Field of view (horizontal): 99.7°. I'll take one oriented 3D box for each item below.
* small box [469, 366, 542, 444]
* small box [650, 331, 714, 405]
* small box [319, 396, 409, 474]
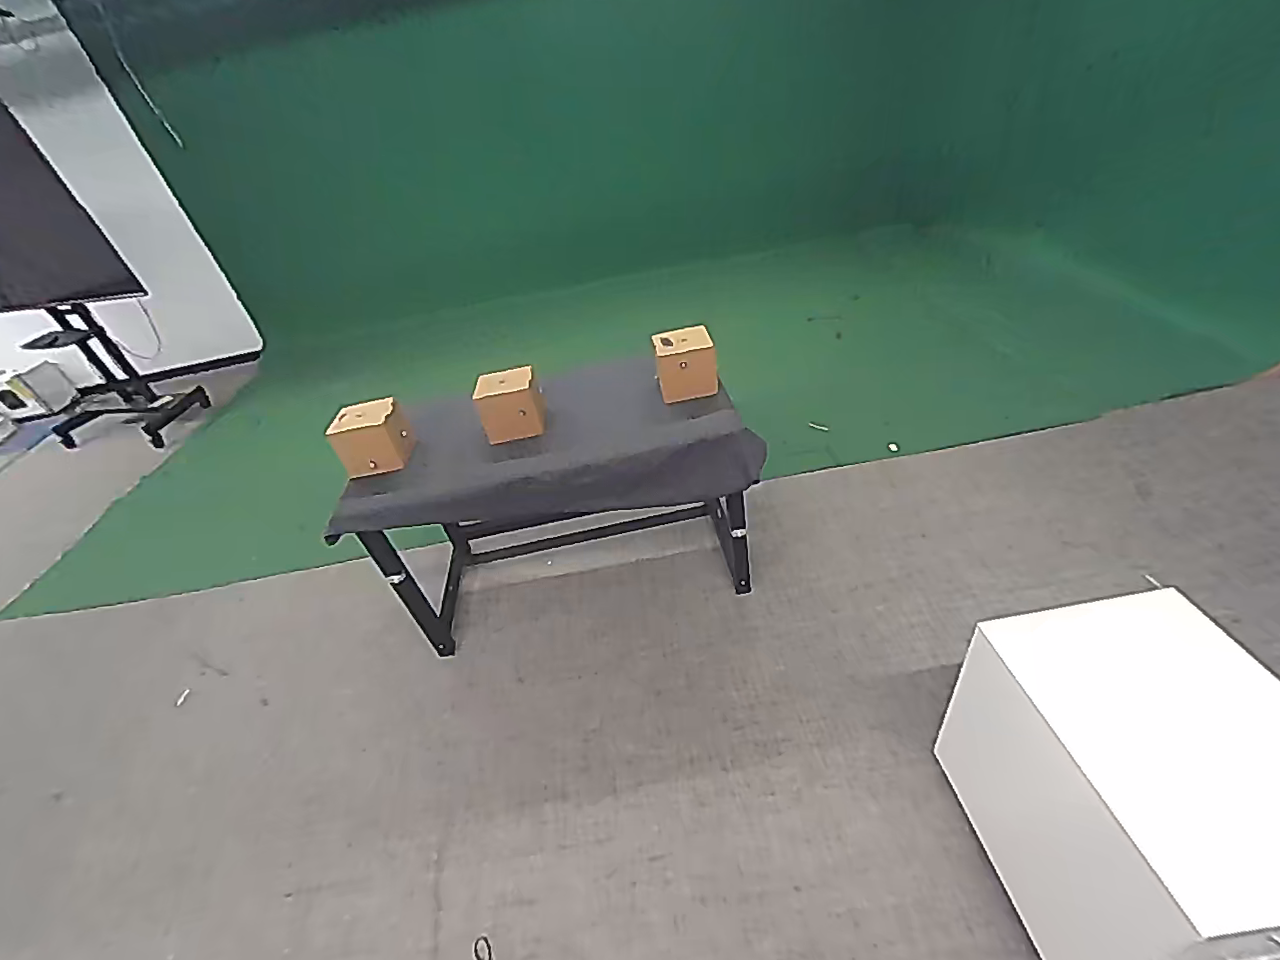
[{"bbox_3d":[-0.417,-0.236,1.710,0.179,0.176,0.168,-11,35,1],"label":"small box"},{"bbox_3d":[0.136,-0.356,1.731,0.179,0.176,0.168,-9,37,1],"label":"small box"},{"bbox_3d":[-0.844,-0.139,1.678,0.179,0.176,0.168,-9,36,-1],"label":"small box"}]
